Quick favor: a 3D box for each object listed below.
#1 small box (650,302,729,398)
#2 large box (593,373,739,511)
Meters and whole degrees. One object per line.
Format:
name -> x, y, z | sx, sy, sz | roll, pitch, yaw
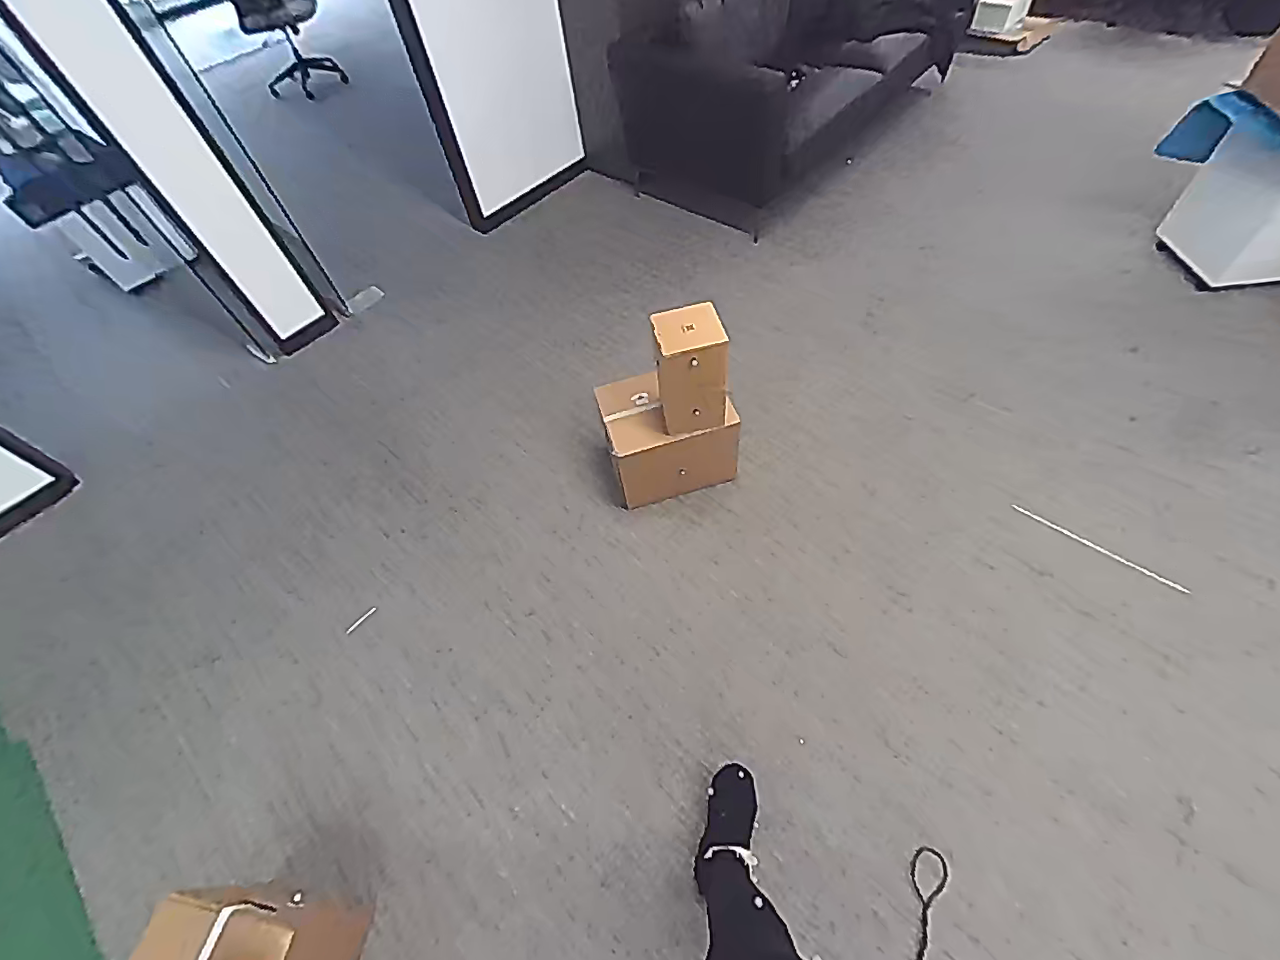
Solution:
small box -> 0.132, -0.351, 1.476 | 0.179, 0.176, 0.168 | -14, 56, -2
large box -> 0.091, -0.147, 1.839 | 0.408, 0.320, 0.320 | -17, 54, -4
